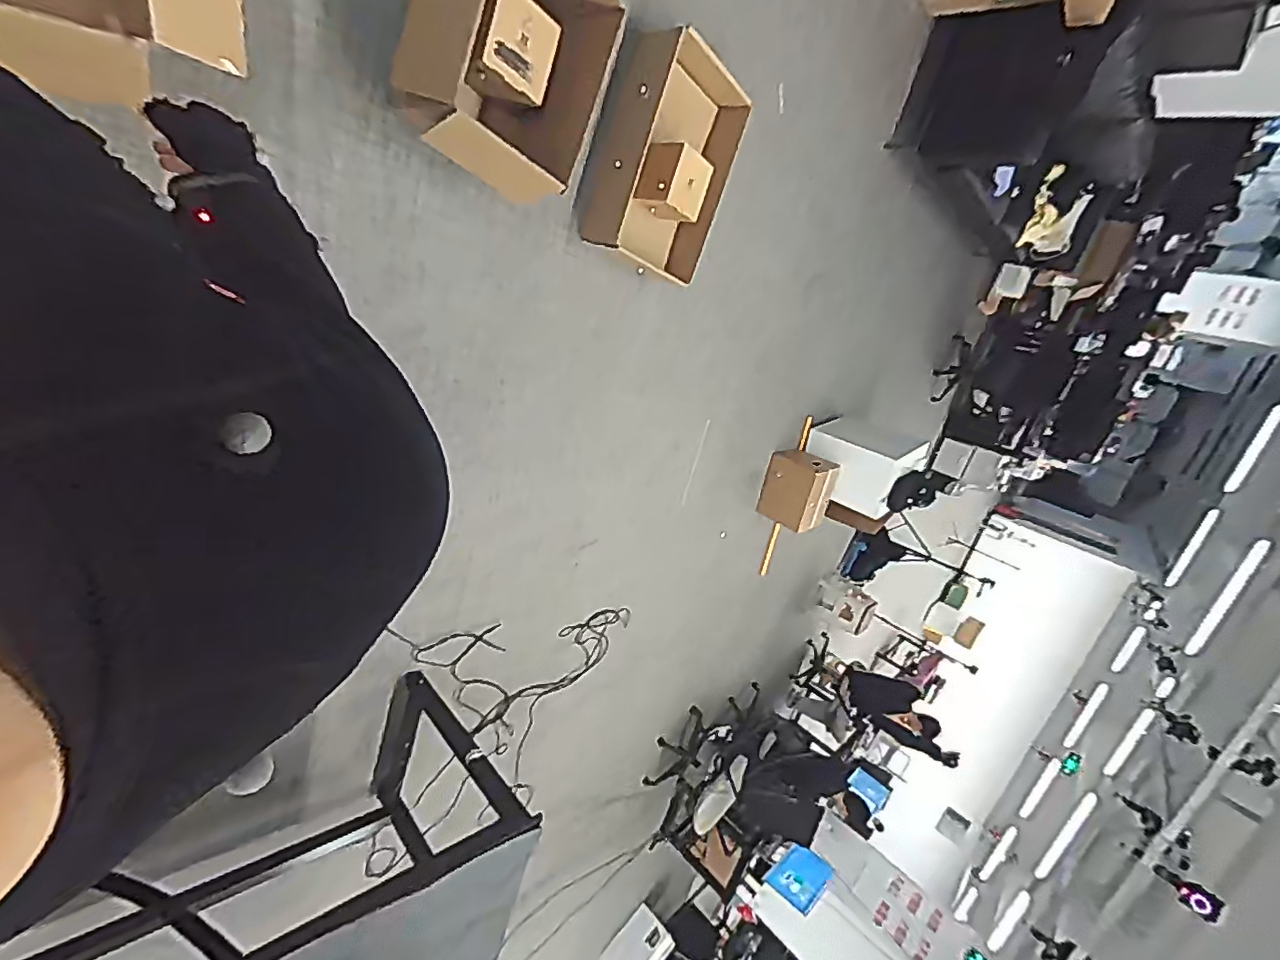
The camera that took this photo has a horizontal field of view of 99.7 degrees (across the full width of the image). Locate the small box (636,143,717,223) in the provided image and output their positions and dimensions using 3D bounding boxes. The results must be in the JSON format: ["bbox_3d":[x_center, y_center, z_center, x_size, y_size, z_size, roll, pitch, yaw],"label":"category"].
[{"bbox_3d":[0.113,-0.952,1.735,0.168,0.176,0.179,3,110,-50],"label":"small box"}]
